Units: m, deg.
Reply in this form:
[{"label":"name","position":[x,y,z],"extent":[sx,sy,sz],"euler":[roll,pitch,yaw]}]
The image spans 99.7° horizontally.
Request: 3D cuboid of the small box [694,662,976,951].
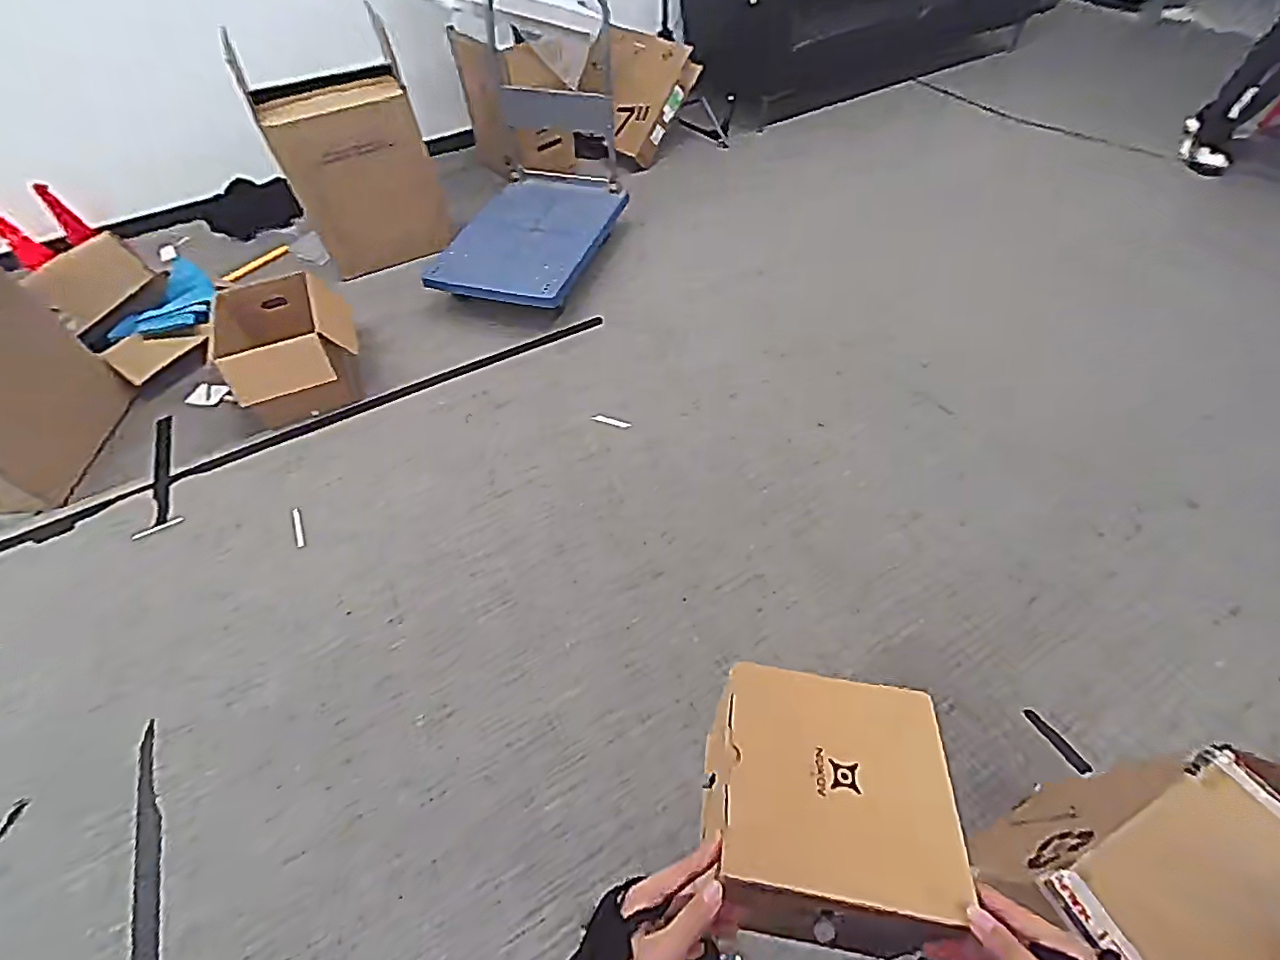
[{"label":"small box","position":[0.147,0.287,0.474],"extent":[0.179,0.176,0.168],"euler":[7,43,6]}]
